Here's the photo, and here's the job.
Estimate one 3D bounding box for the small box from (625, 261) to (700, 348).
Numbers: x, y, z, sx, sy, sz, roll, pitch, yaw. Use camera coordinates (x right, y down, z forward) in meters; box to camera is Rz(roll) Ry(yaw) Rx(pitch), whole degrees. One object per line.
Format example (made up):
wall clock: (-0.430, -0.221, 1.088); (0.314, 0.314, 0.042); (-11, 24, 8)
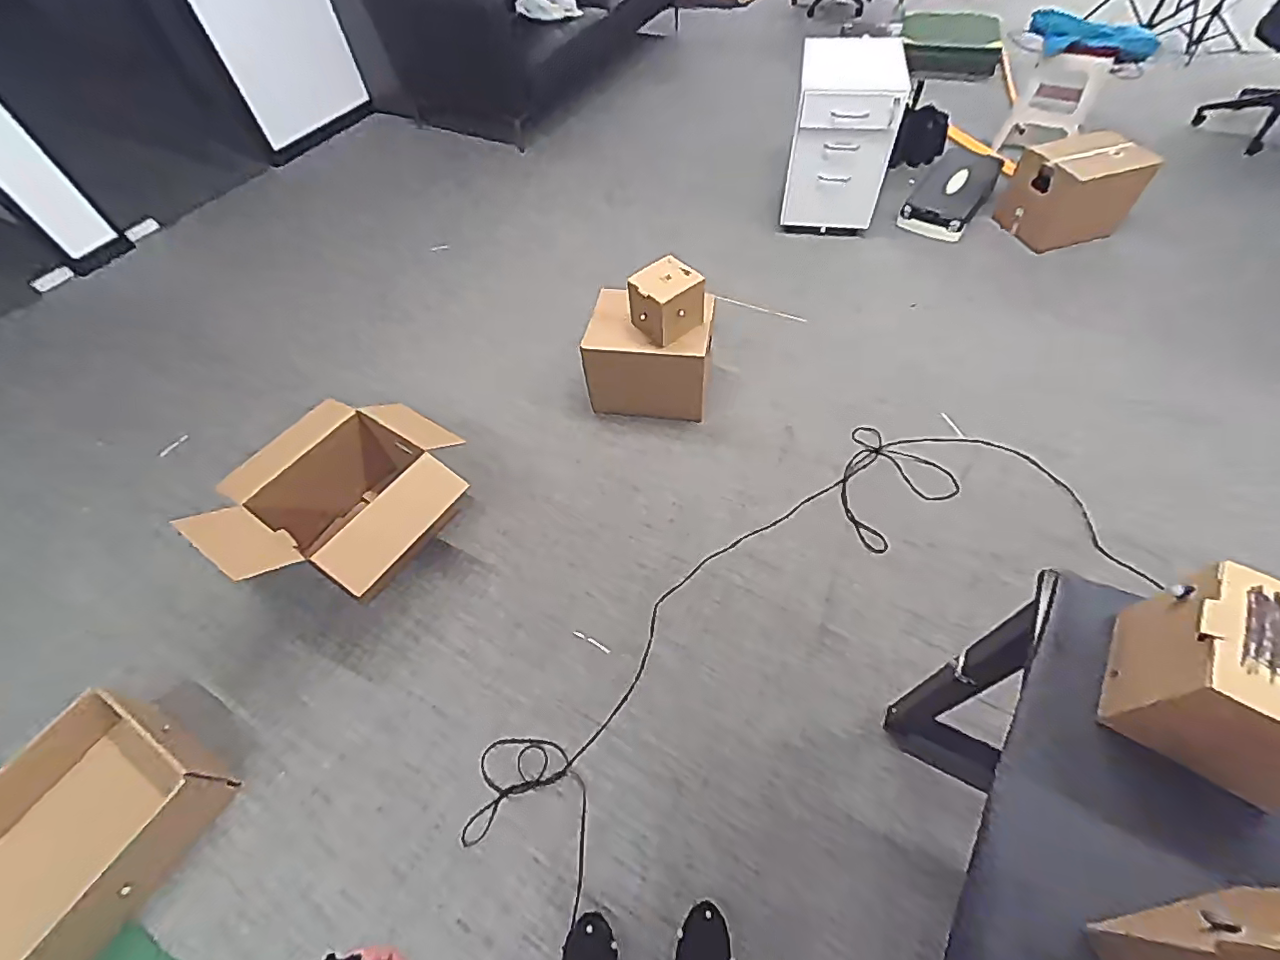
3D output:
small box: (0.076, -0.550, 1.704); (0.179, 0.176, 0.168); (-36, 61, -18)

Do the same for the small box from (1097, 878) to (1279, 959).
small box: (0.539, 0.449, 0.448); (0.179, 0.176, 0.168); (-11, 56, -4)

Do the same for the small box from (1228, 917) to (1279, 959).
small box: (0.517, 0.365, 0.309); (0.179, 0.176, 0.168); (-1, 56, 2)
